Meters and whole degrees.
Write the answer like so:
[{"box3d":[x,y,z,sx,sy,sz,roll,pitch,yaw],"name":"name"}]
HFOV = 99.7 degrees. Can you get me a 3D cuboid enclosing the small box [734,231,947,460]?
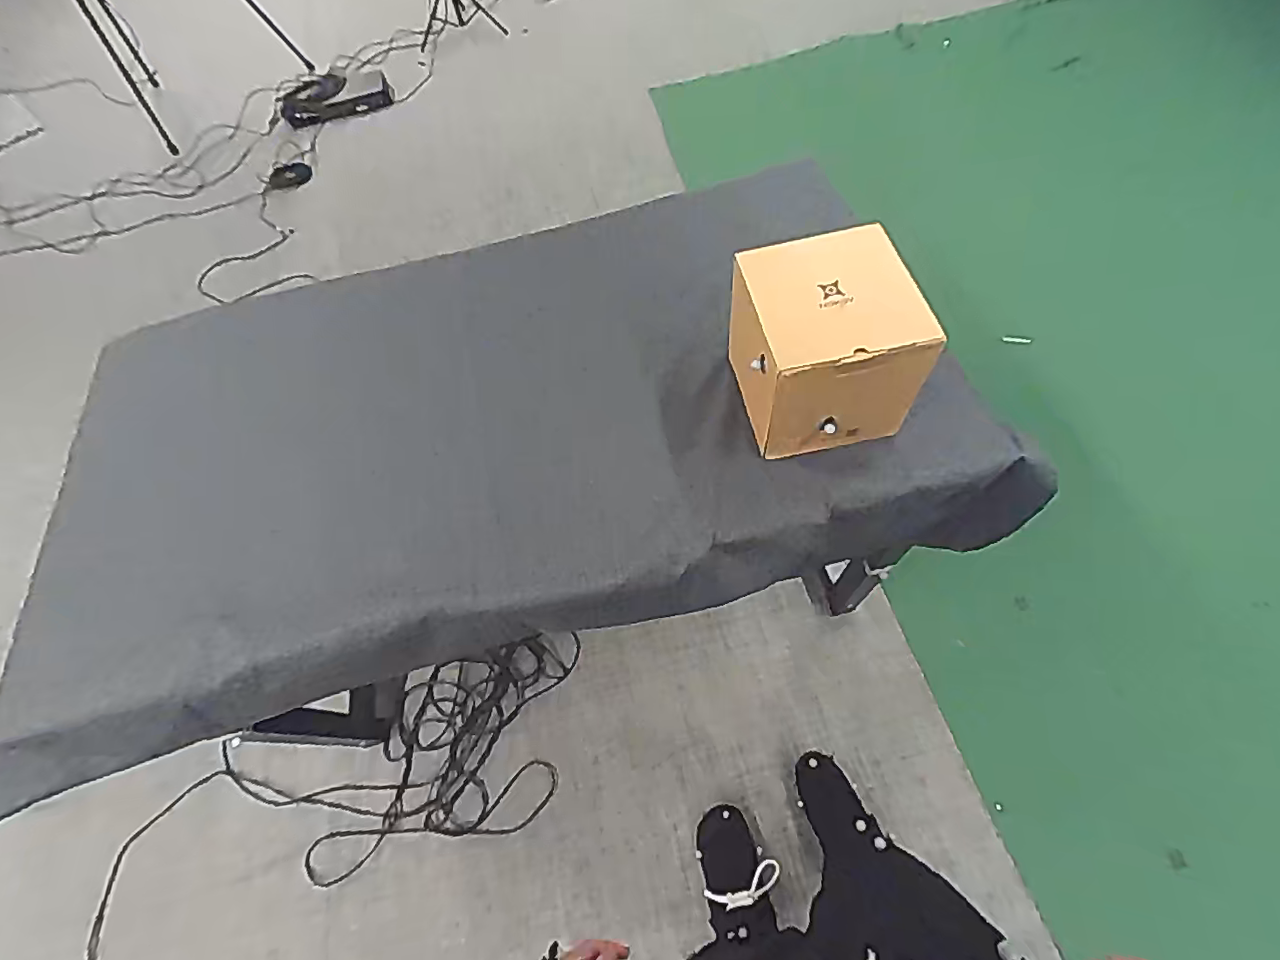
[{"box3d":[0.210,-0.149,0.628,0.168,0.176,0.179,-12,61,1],"name":"small box"}]
